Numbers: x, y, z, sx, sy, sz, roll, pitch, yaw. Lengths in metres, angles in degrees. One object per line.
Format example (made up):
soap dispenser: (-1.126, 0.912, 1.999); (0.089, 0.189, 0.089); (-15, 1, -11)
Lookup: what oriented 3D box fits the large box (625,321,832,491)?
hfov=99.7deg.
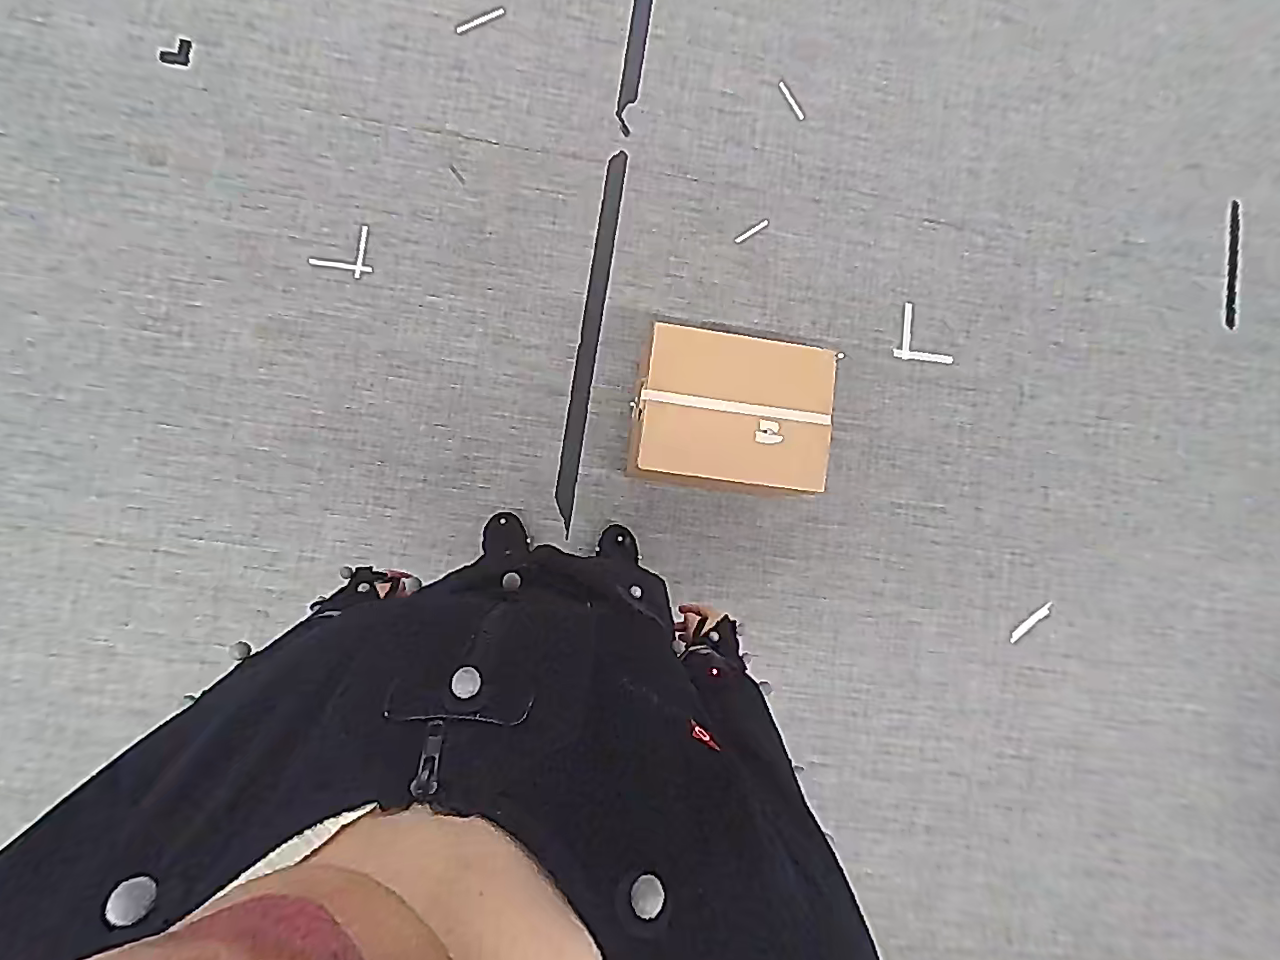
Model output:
large box: (0.187, -0.151, 1.288); (0.408, 0.320, 0.320); (7, 87, -7)
